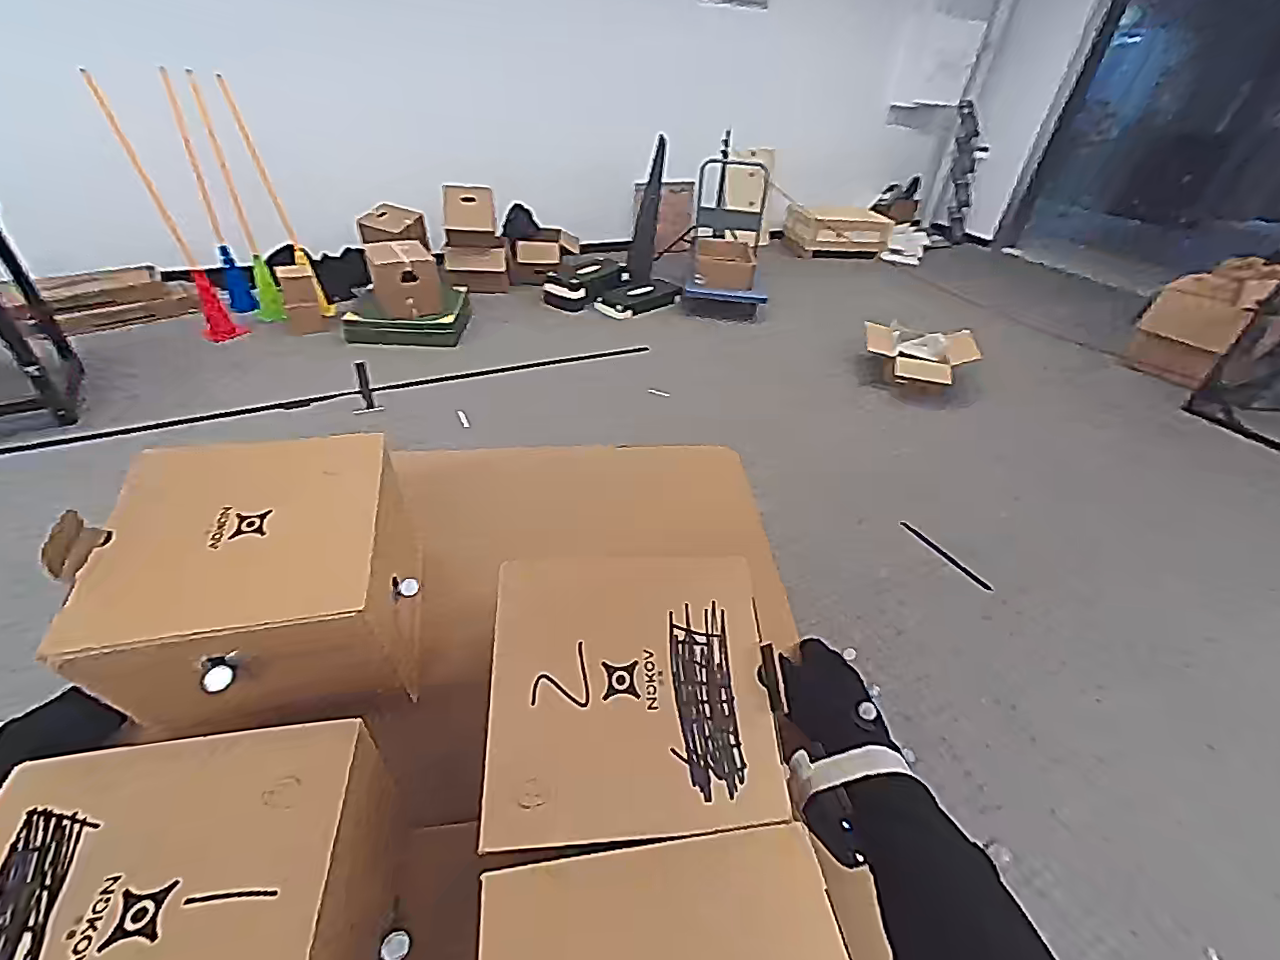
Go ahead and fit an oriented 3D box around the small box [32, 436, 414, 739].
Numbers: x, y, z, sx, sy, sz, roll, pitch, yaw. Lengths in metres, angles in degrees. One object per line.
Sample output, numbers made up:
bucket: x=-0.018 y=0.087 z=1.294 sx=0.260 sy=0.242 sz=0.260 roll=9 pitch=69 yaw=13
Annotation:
small box: x=-0.290 y=0.087 z=0.437 sx=0.179 sy=0.176 sz=0.168 roll=-7 pitch=50 yaw=-13
